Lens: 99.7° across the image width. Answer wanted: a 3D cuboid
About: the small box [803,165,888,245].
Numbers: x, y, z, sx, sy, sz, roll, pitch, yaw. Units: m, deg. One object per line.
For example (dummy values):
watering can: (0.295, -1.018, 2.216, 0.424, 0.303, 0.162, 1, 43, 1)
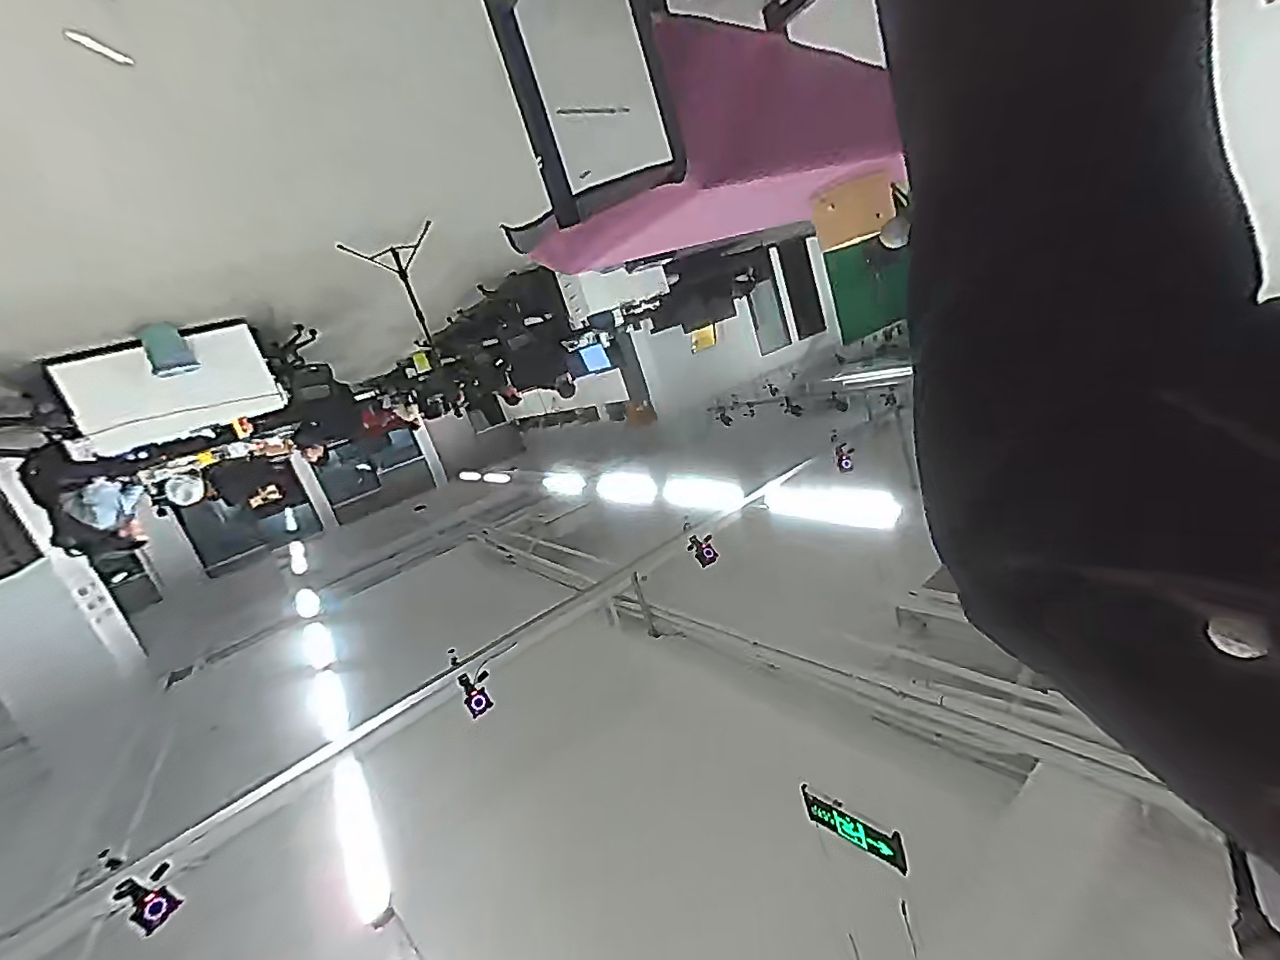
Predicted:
small box: (0.647, -0.870, 1.709, 0.179, 0.176, 0.168, -24, -165, -21)
